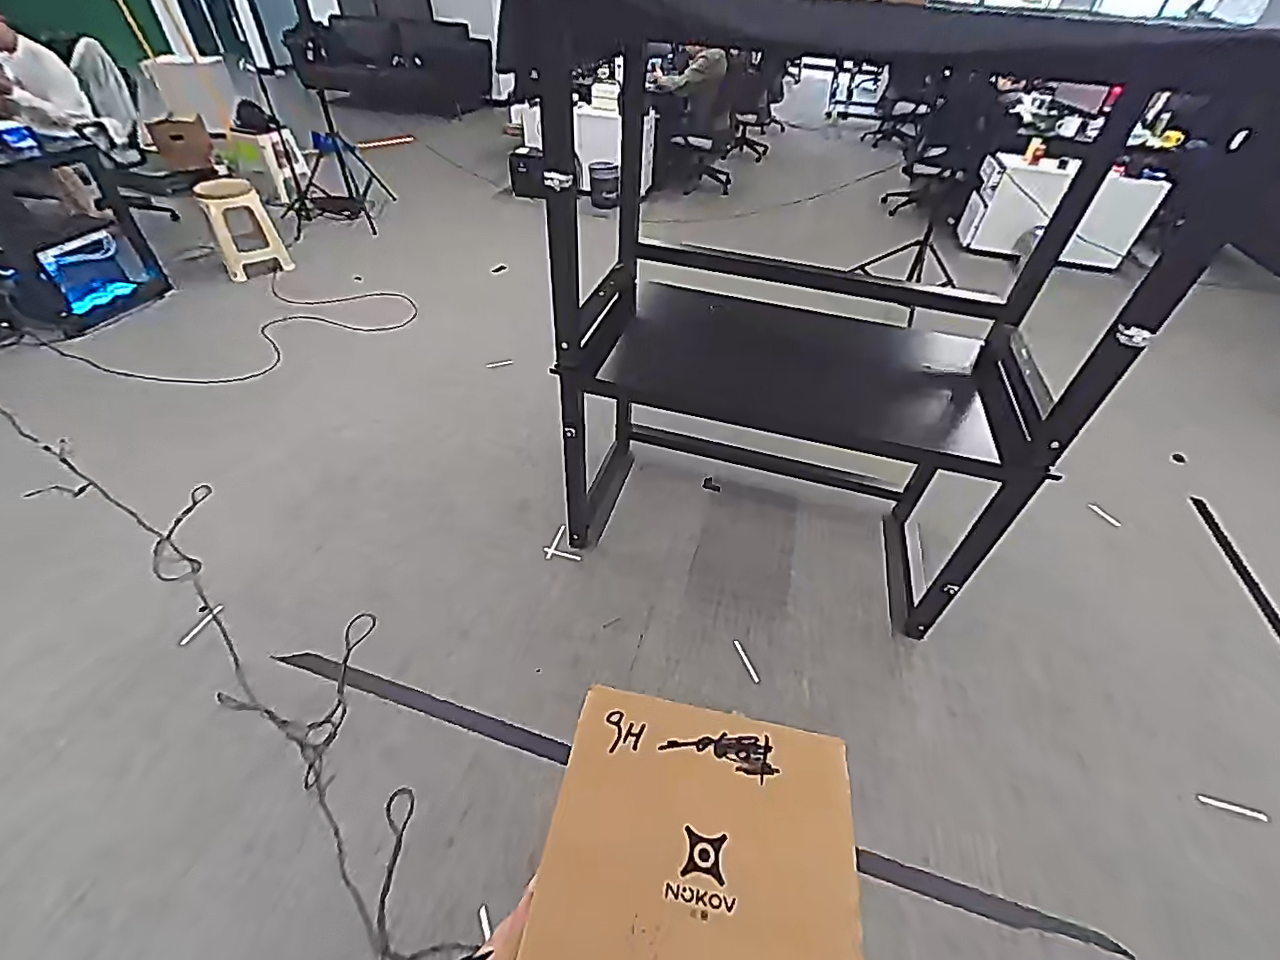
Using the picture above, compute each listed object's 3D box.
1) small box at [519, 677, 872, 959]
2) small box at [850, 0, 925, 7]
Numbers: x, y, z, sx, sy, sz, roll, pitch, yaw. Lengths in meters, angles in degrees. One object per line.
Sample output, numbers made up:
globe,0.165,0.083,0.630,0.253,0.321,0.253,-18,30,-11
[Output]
small box,0.028,0.256,0.333,0.168,0.176,0.179,12,45,4
small box,0.376,-0.839,0.821,0.168,0.176,0.179,14,43,10
